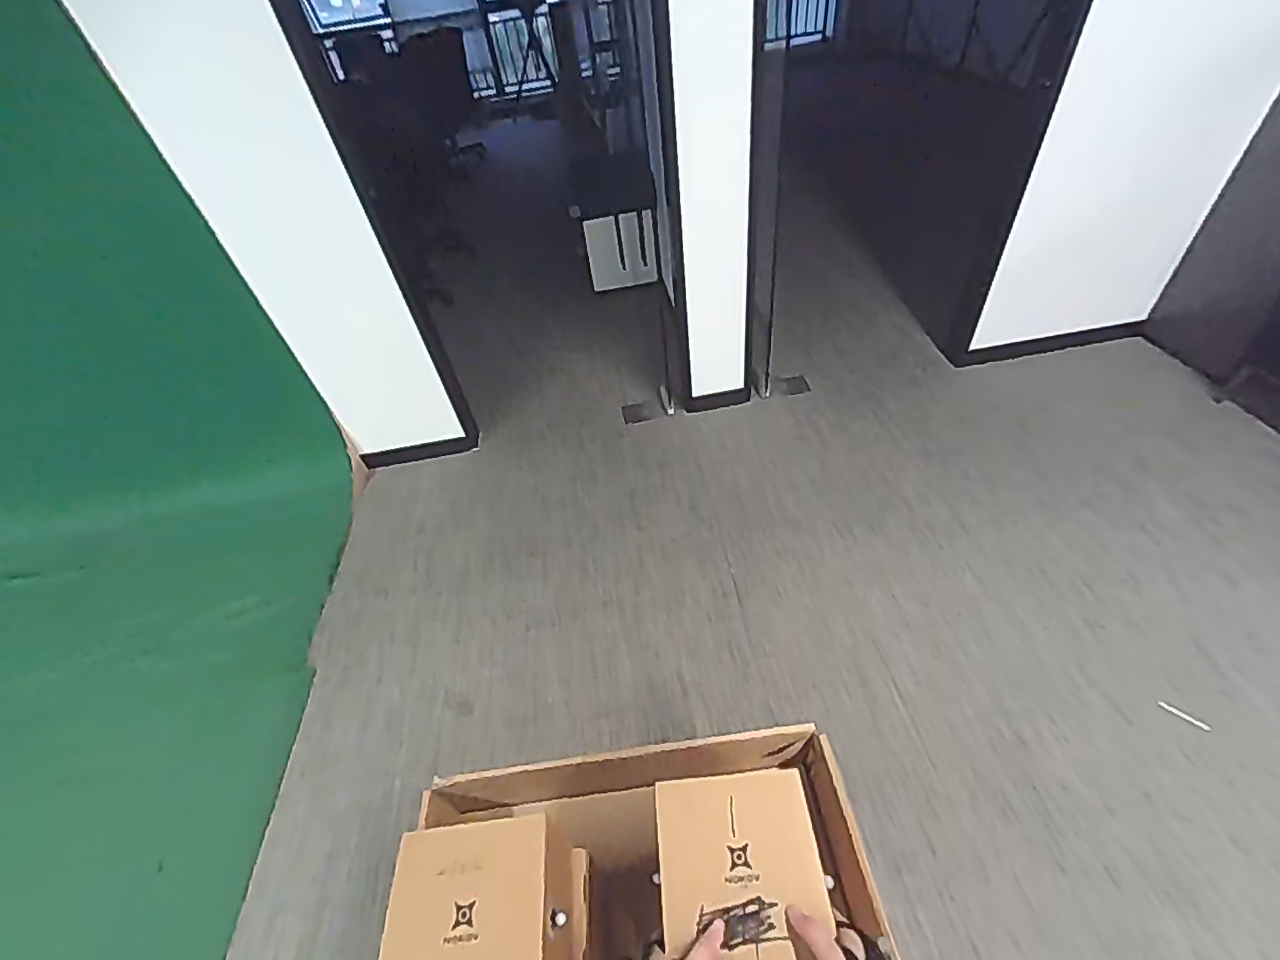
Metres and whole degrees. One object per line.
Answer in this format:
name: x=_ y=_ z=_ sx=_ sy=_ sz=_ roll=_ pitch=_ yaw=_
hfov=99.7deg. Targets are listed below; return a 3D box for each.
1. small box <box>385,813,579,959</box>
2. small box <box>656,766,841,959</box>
small box: x=-0.165 y=0.505 z=0.611 sx=0.168 sy=0.176 sz=0.179 roll=-8 pitch=44 yaw=2
small box: x=0.115 y=0.449 z=0.611 sx=0.168 sy=0.176 sz=0.179 roll=-8 pitch=45 yaw=4
